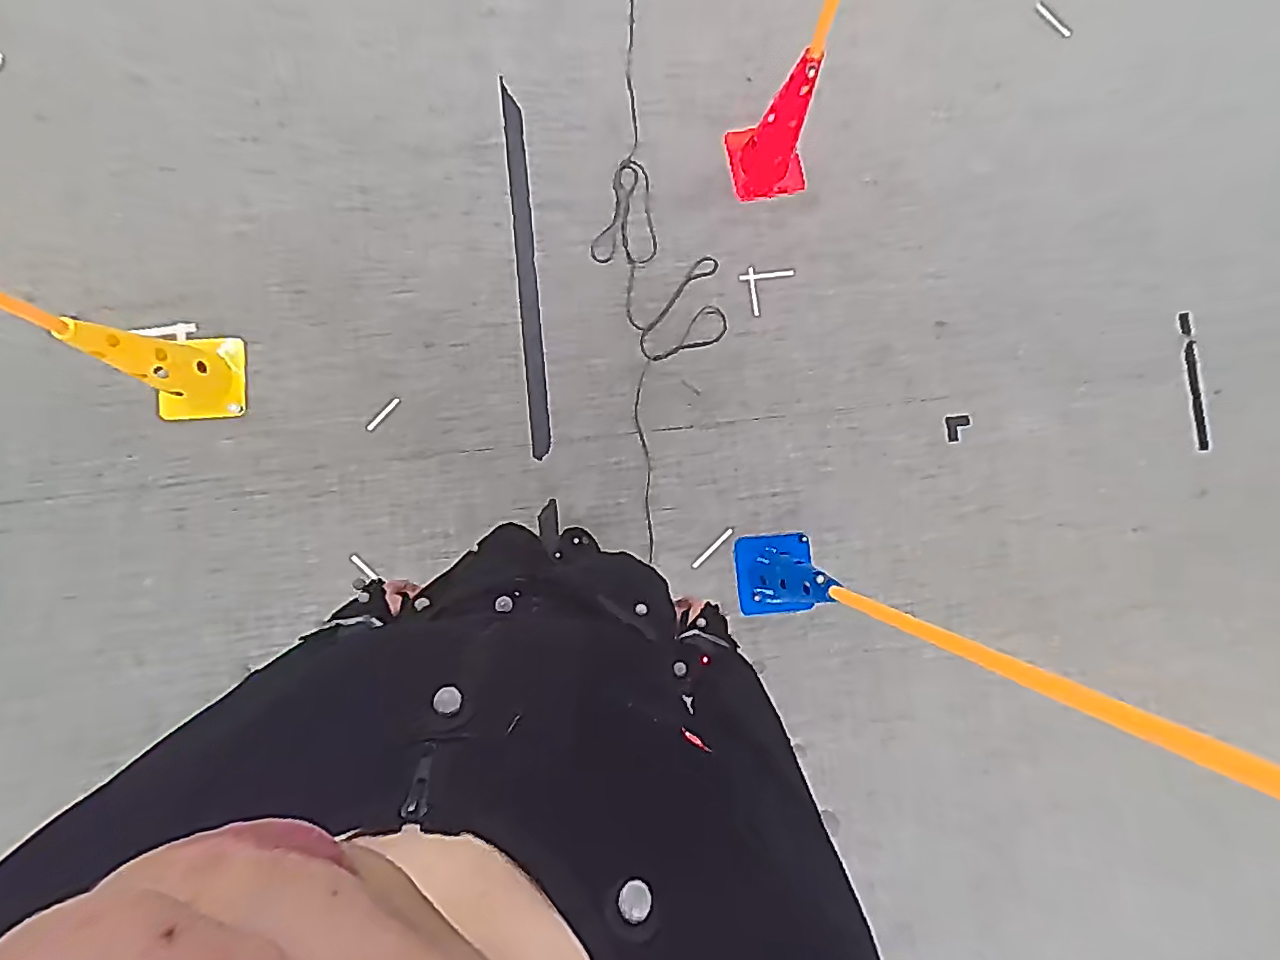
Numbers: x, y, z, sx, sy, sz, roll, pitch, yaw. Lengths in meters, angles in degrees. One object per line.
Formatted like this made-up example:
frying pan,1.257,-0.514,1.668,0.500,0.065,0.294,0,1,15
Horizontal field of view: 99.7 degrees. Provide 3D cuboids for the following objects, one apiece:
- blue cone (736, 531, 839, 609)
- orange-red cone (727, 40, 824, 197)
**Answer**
blue cone,0.359,0.218,1.231,0.193,0.380,0.192,-3,85,-5
orange-red cone,0.357,-0.890,1.307,0.199,0.360,0.198,-11,86,-4
